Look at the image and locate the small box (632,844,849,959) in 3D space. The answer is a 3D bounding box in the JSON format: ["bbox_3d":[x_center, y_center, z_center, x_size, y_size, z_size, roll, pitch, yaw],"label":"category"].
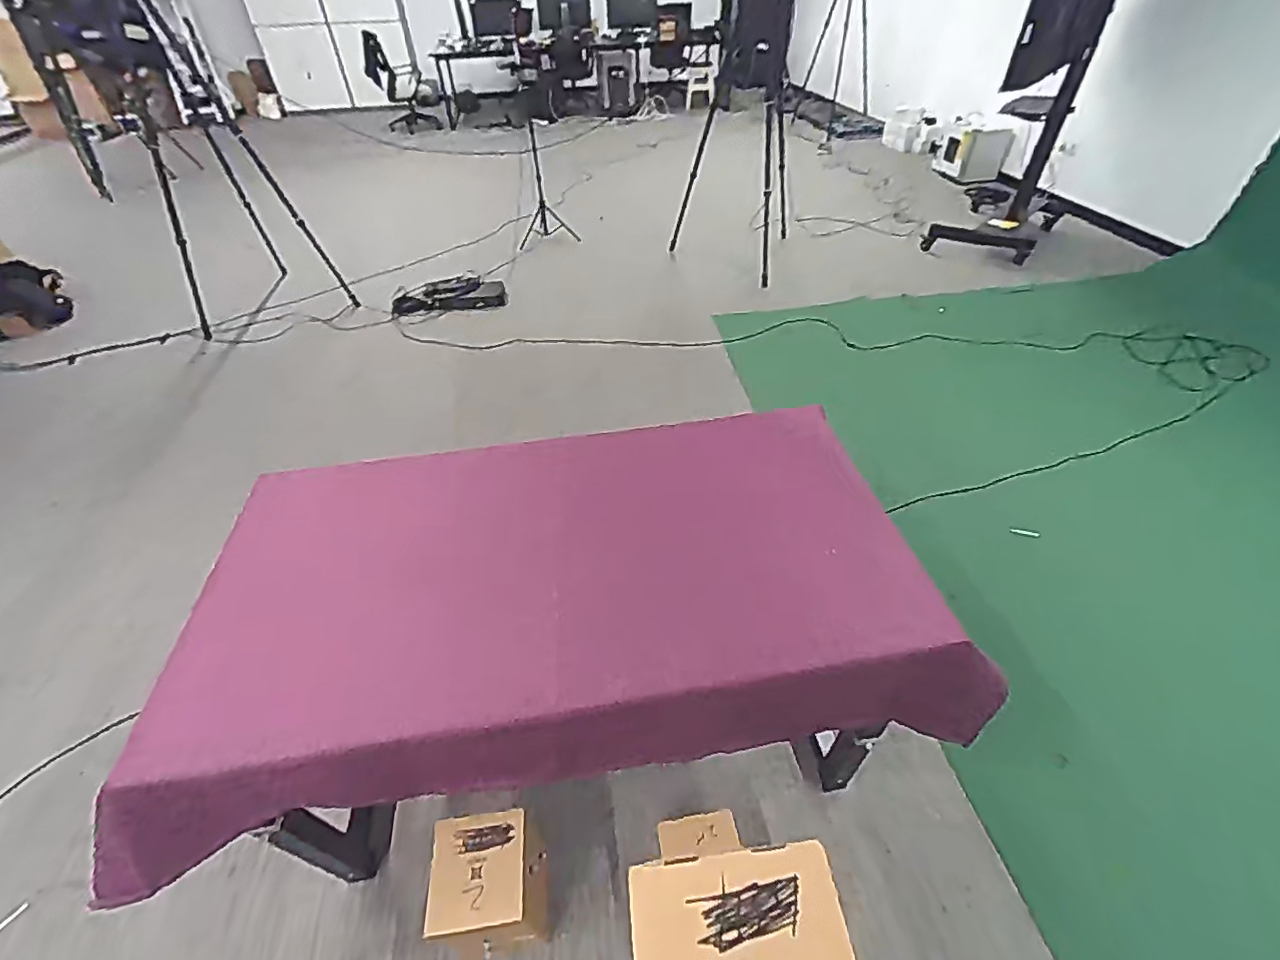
[{"bbox_3d":[0.088,0.438,0.456,0.168,0.176,0.179,-9,45,2],"label":"small box"}]
